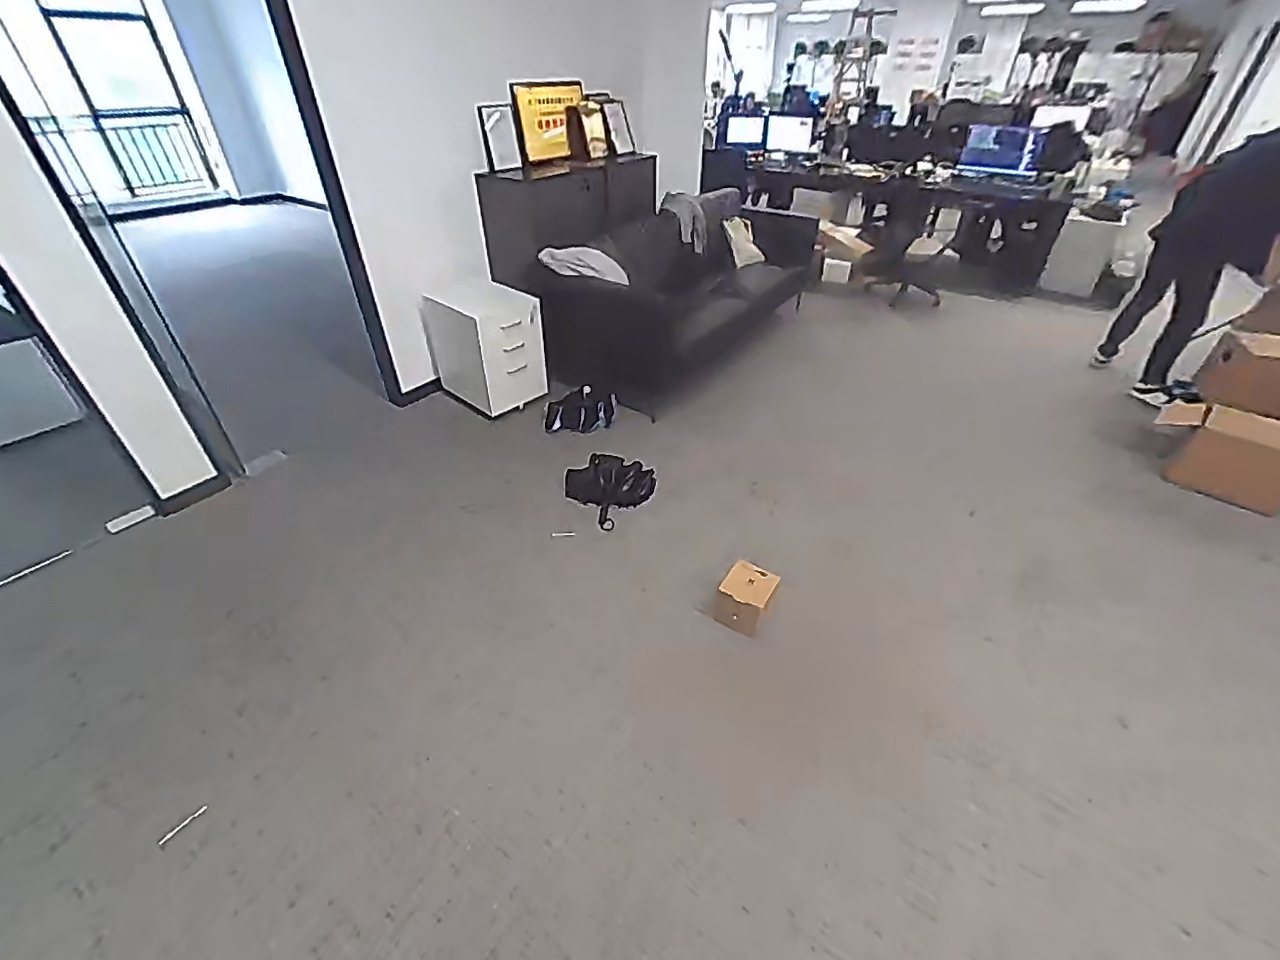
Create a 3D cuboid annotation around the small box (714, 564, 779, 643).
[{"bbox_3d":[0.372,0.438,1.910,0.168,0.176,0.179,22,42,26],"label":"small box"}]
